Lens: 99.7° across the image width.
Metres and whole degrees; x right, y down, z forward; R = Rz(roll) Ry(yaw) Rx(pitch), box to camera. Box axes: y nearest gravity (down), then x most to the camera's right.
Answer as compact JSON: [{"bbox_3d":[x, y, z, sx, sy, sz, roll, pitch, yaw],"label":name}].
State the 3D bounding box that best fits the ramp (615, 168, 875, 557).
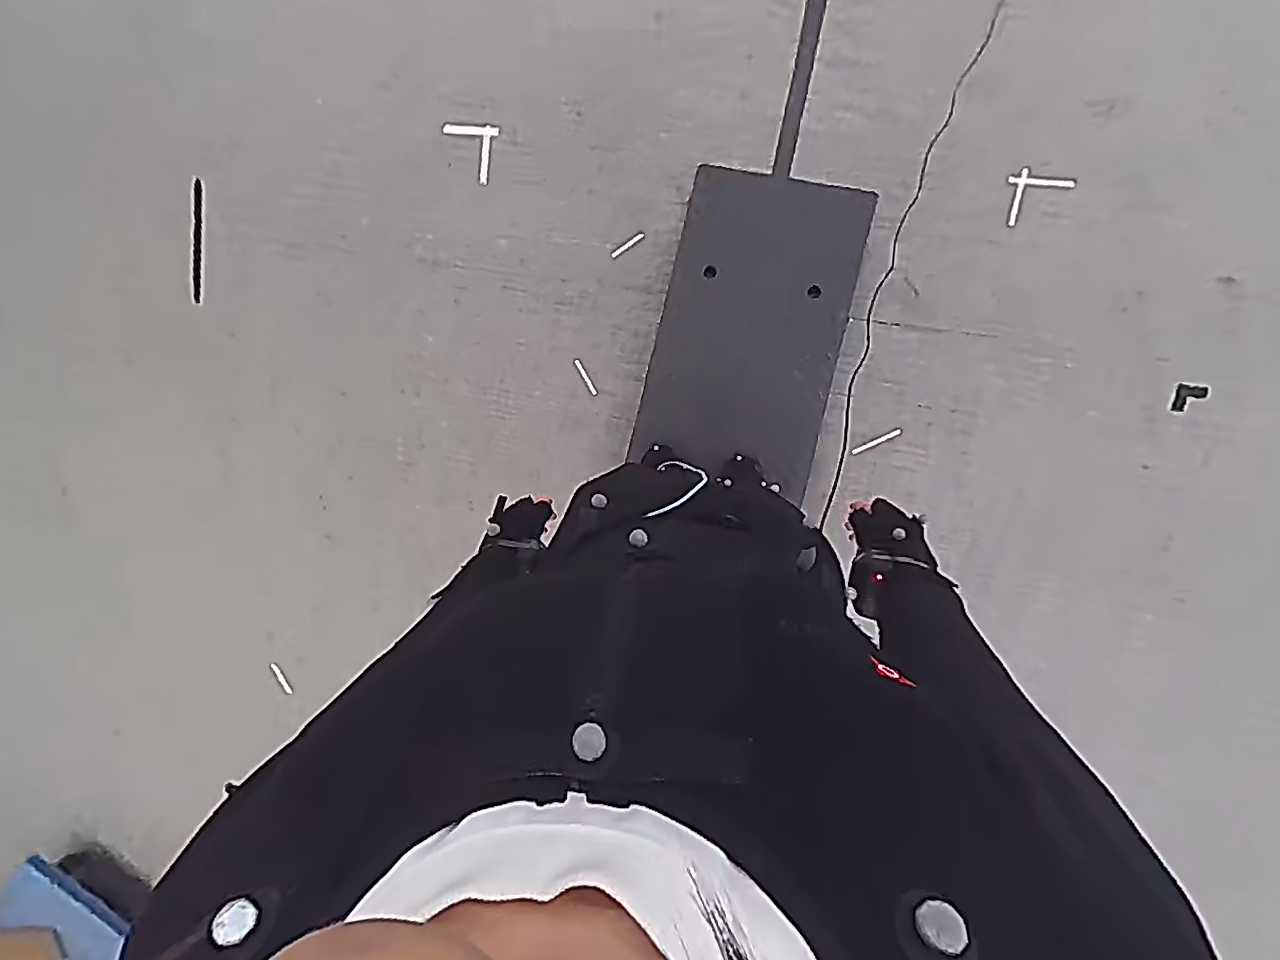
[{"bbox_3d":[0.276,-0.332,1.464,0.509,0.206,0.991,12,99,9],"label":"ramp"}]
